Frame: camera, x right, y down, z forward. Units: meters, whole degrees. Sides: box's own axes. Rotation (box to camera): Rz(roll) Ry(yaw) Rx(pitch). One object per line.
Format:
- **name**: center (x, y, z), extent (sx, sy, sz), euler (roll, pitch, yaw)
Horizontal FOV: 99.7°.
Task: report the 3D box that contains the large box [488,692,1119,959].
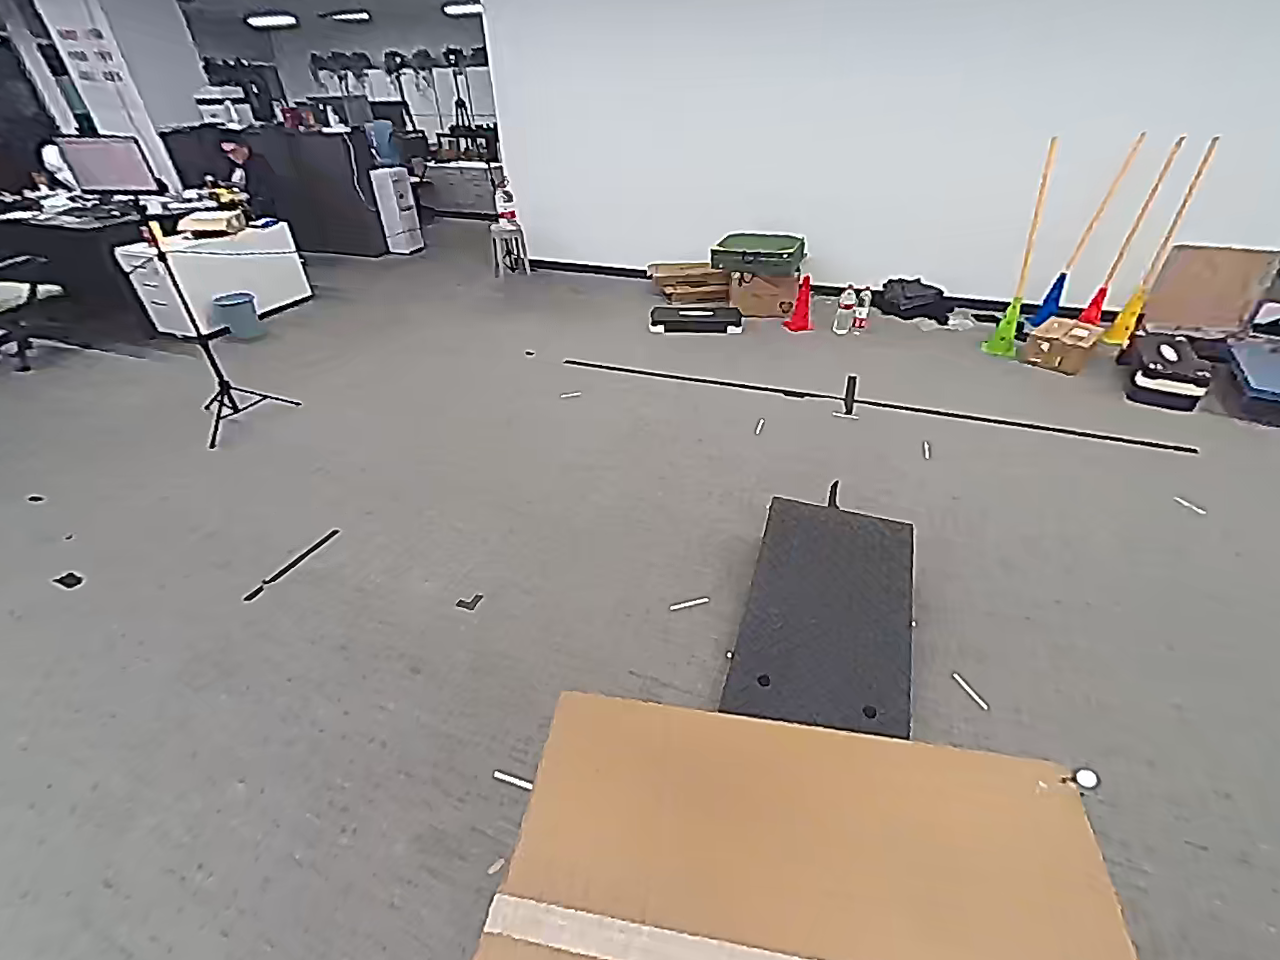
- **large box**: center (0.107, 0.413, 0.455), extent (0.408, 0.320, 0.320), euler (4, 47, 9)
